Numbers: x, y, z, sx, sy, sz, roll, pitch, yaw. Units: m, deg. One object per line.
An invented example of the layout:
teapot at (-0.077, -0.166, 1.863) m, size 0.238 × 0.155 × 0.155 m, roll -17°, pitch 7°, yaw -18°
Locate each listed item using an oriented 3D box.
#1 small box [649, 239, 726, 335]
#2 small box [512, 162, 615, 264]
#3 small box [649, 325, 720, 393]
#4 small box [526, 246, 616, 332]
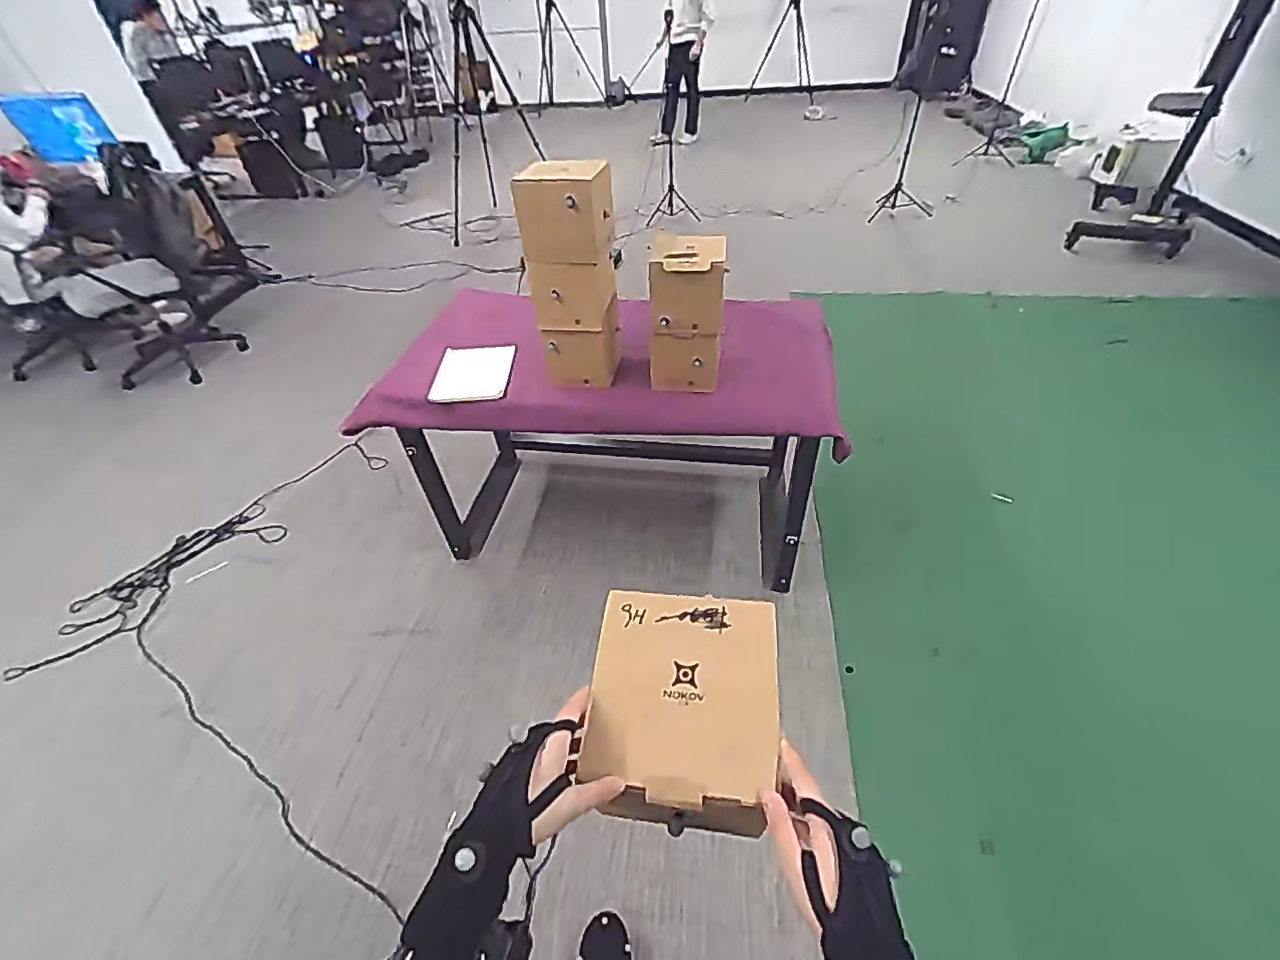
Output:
small box at (0.115, -0.456, 1.278) m, size 0.168 × 0.176 × 0.179 m, roll 4°, pitch 42°, yaw 7°
small box at (-0.159, -0.590, 1.199) m, size 0.179 × 0.176 × 0.168 m, roll 5°, pitch 42°, yaw 11°
small box at (0.119, -0.338, 1.391) m, size 0.168 × 0.176 × 0.179 m, roll 5°, pitch 42°, yaw 8°
small box at (-0.158, -0.472, 1.316) m, size 0.168 × 0.176 × 0.179 m, roll 4°, pitch 42°, yaw 9°
